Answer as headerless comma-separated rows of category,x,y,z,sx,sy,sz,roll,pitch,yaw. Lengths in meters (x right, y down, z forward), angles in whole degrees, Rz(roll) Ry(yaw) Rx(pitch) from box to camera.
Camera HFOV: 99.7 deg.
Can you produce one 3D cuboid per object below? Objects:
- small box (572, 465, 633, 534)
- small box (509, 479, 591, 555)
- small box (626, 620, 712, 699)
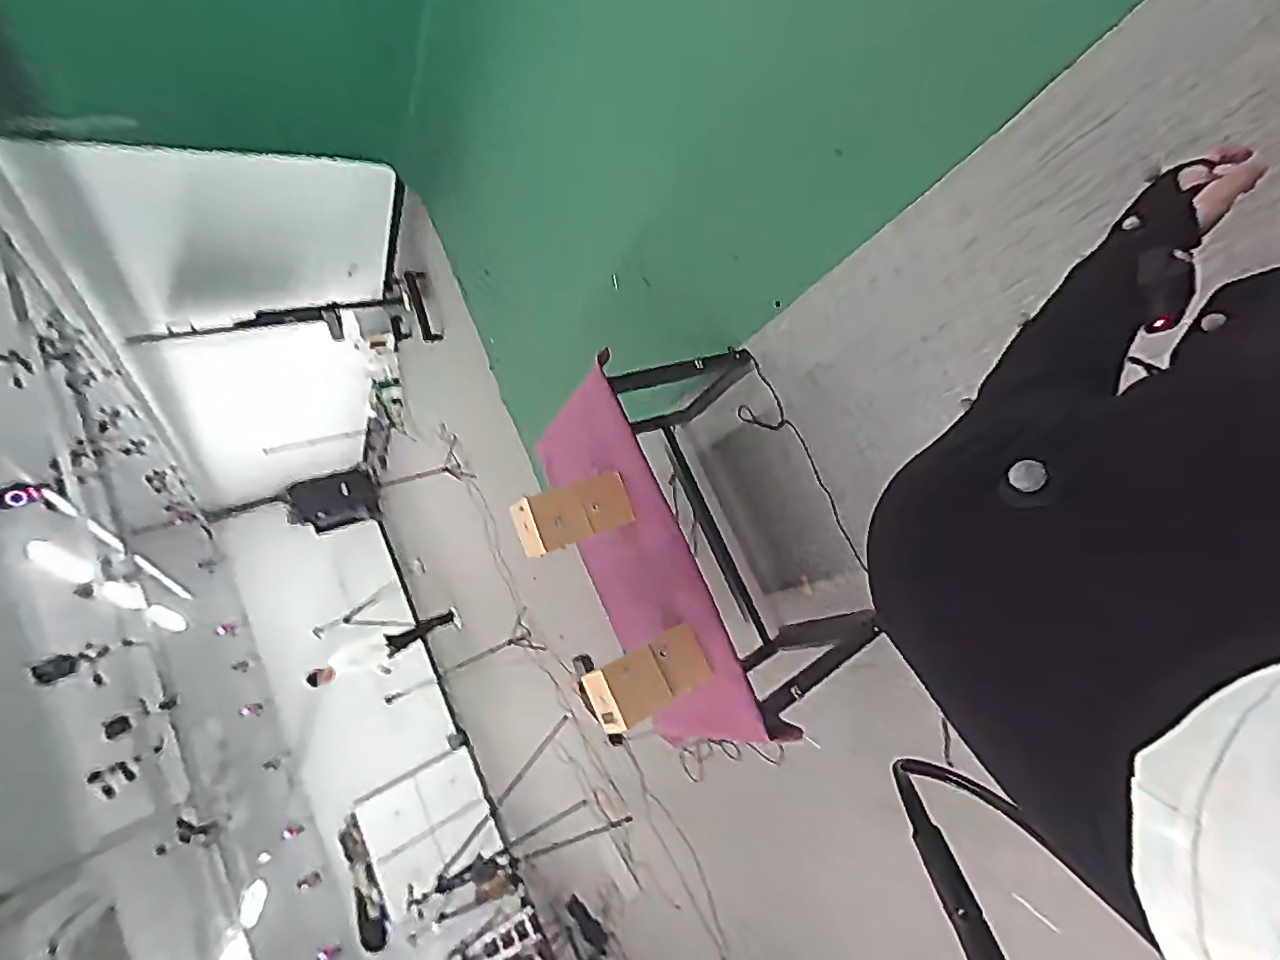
small box,-0.147,0.067,1.761,0.168,0.176,0.179,-18,92,56
small box,-0.274,0.113,1.669,0.168,0.176,0.179,-23,89,56
small box,0.090,0.550,1.673,0.179,0.176,0.168,62,146,12
